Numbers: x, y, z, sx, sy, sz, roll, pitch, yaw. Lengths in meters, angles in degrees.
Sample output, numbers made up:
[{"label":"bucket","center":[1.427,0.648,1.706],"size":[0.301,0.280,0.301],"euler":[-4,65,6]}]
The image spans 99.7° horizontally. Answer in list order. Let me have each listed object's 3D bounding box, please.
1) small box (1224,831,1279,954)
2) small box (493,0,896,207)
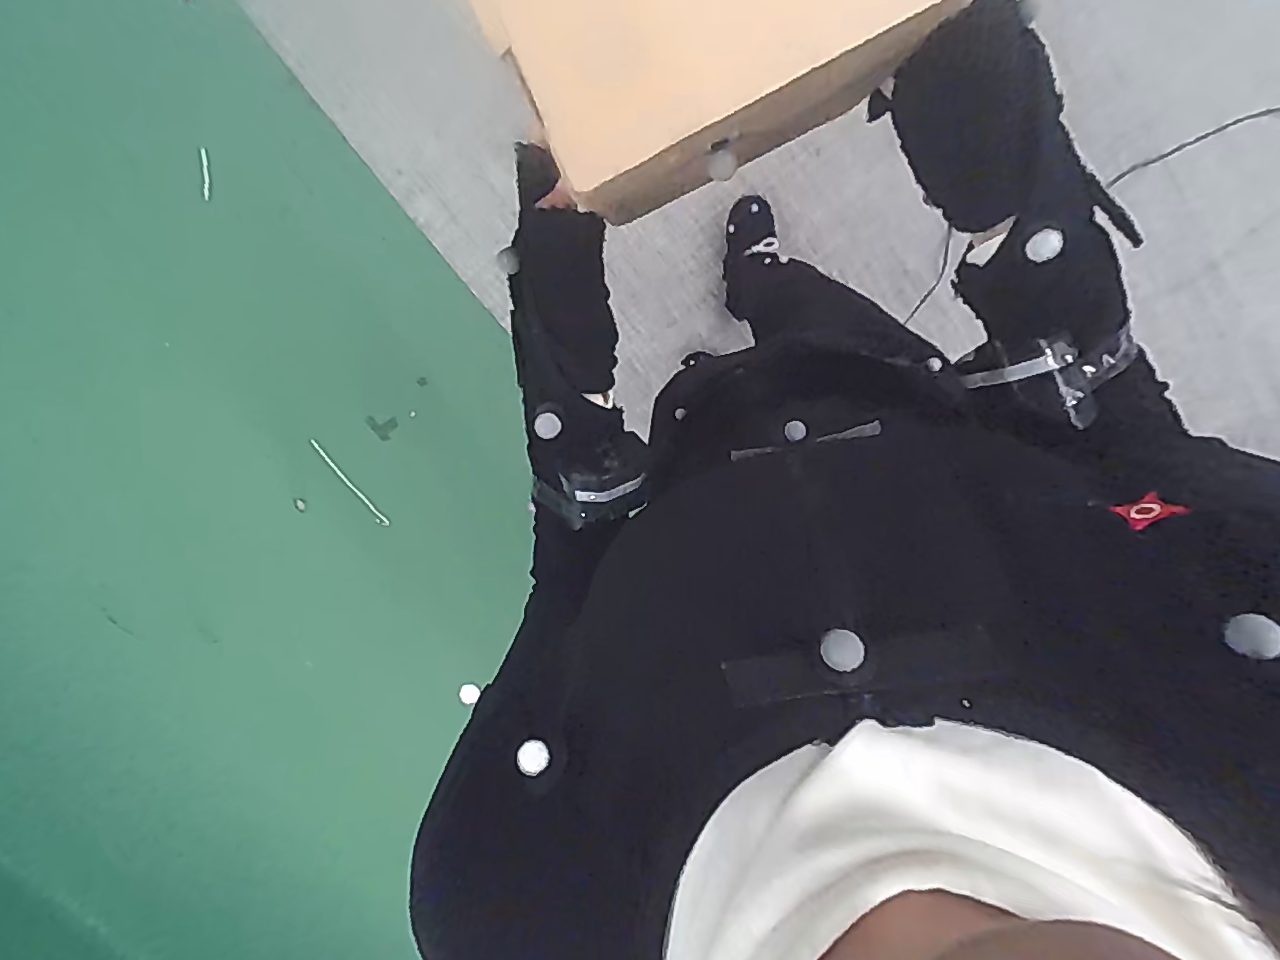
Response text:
[{"label":"small box","center":[0.934,0.582,0.703],"size":[0.179,0.176,0.168],"euler":[-34,103,15]},{"label":"small box","center":[0.020,-0.266,0.273],"size":[0.179,0.176,0.168],"euler":[-25,105,13]}]
